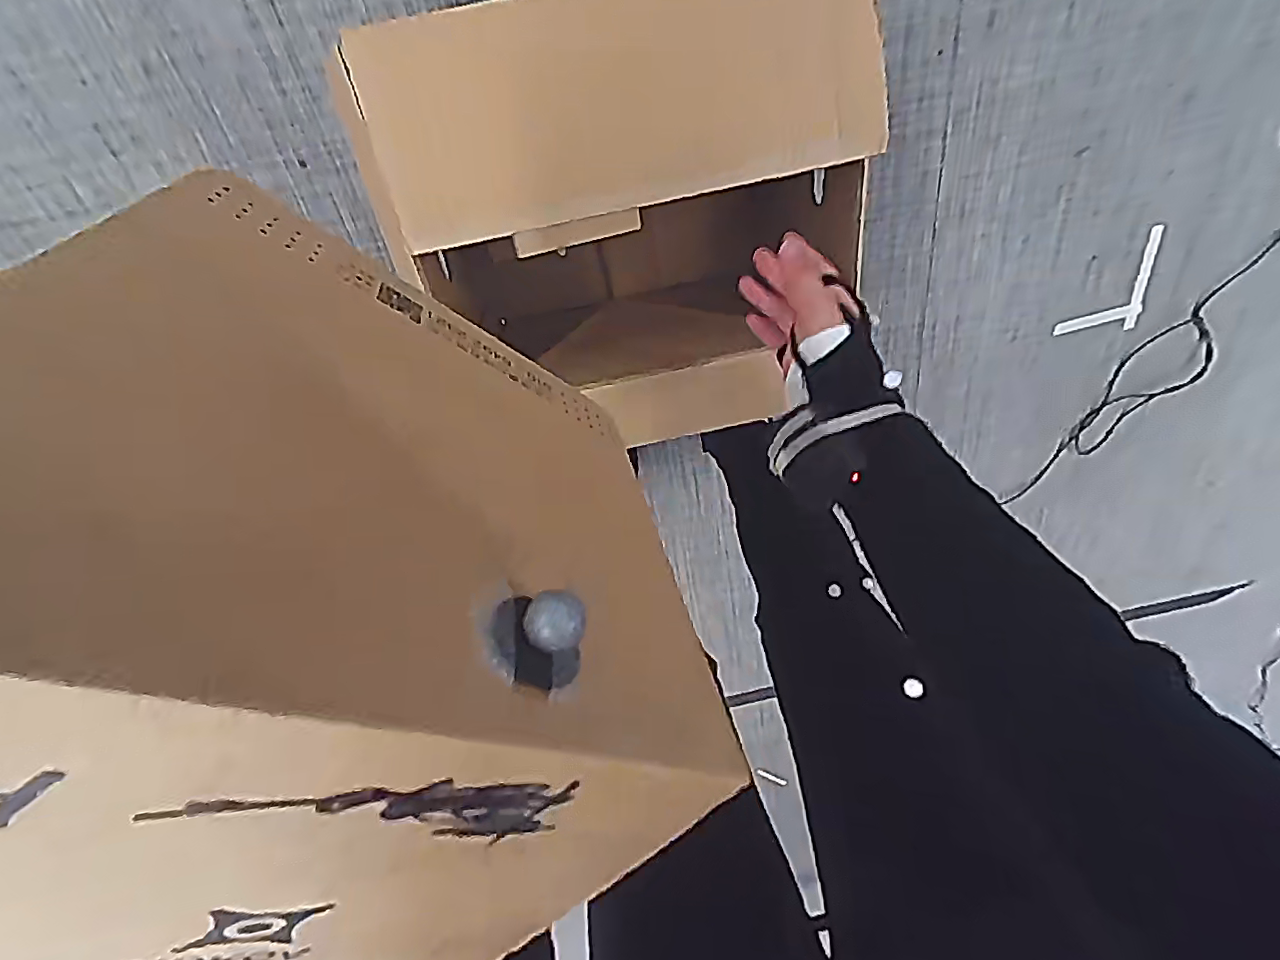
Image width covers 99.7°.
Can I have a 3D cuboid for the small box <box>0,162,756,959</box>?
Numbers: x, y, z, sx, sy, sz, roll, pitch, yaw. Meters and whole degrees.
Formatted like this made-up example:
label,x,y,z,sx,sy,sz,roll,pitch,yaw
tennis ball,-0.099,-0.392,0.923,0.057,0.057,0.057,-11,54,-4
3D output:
label,x,y,z,sx,sy,sz,roll,pitch,yaw
small box,-0.102,0.044,0.169,0.168,0.176,0.179,30,116,-35
